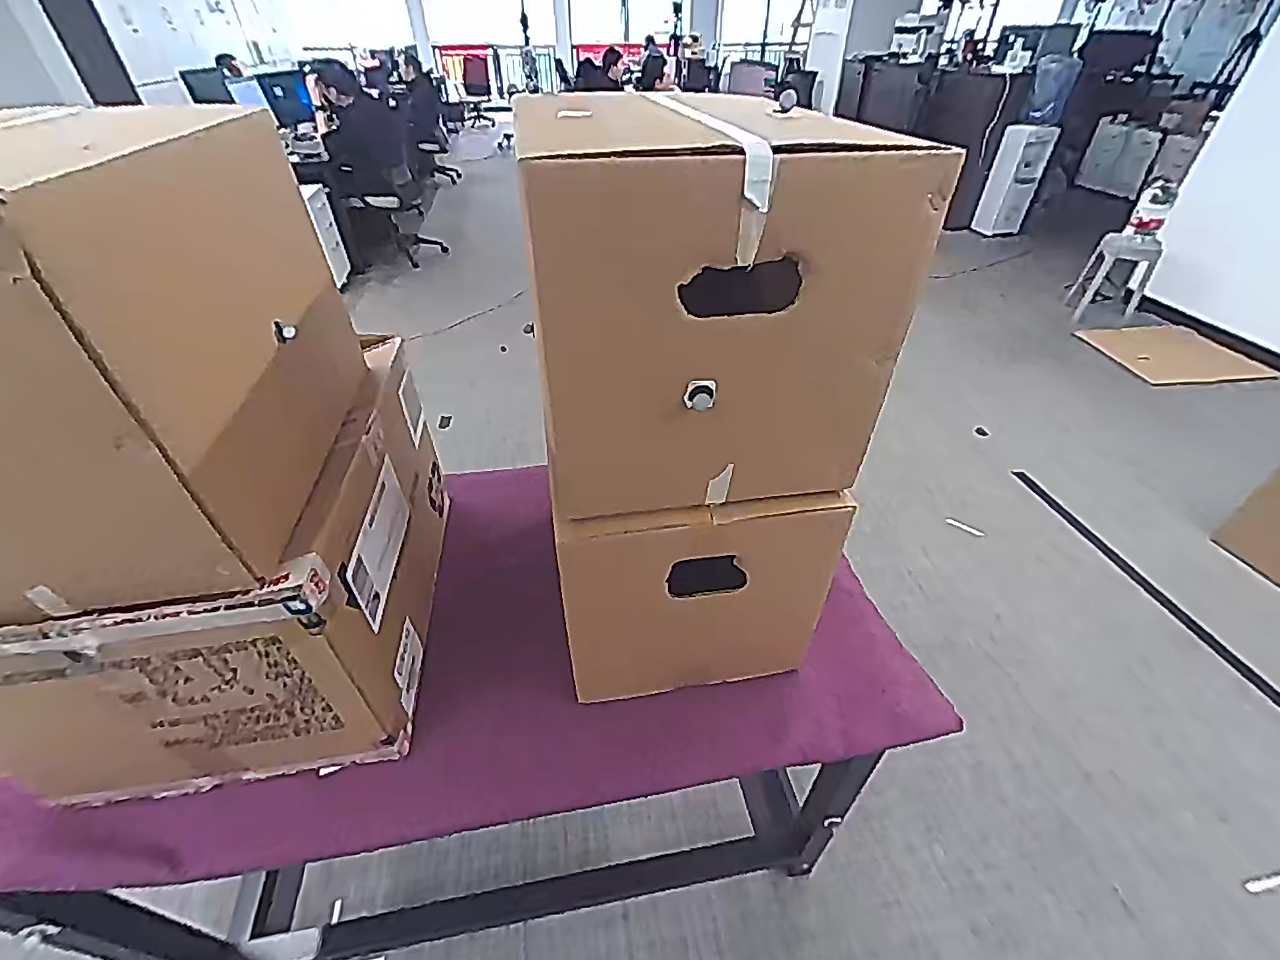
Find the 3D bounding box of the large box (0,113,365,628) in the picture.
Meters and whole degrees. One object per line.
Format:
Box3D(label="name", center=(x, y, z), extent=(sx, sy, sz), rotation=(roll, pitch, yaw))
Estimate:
Box3D(label="large box", center=(-0.494, -0.128, 0.502), extent=(0.320, 0.320, 0.408), rotation=(-8, 41, -7))
